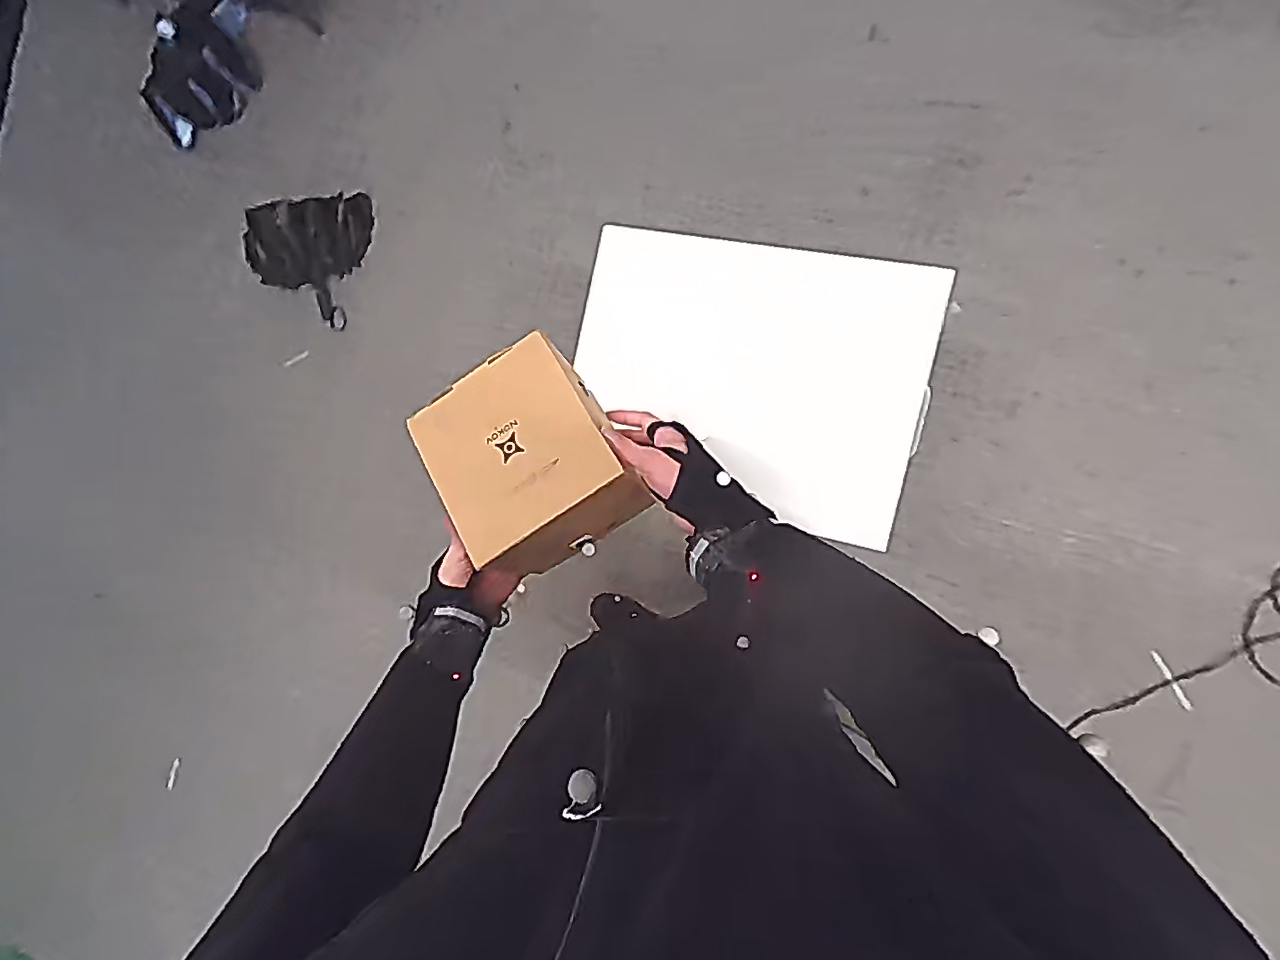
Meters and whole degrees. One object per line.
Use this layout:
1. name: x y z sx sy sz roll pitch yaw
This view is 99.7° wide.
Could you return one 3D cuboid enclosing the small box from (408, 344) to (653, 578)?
1. small box: -0.108 -0.006 0.590 0.168 0.176 0.179 -33 73 6
